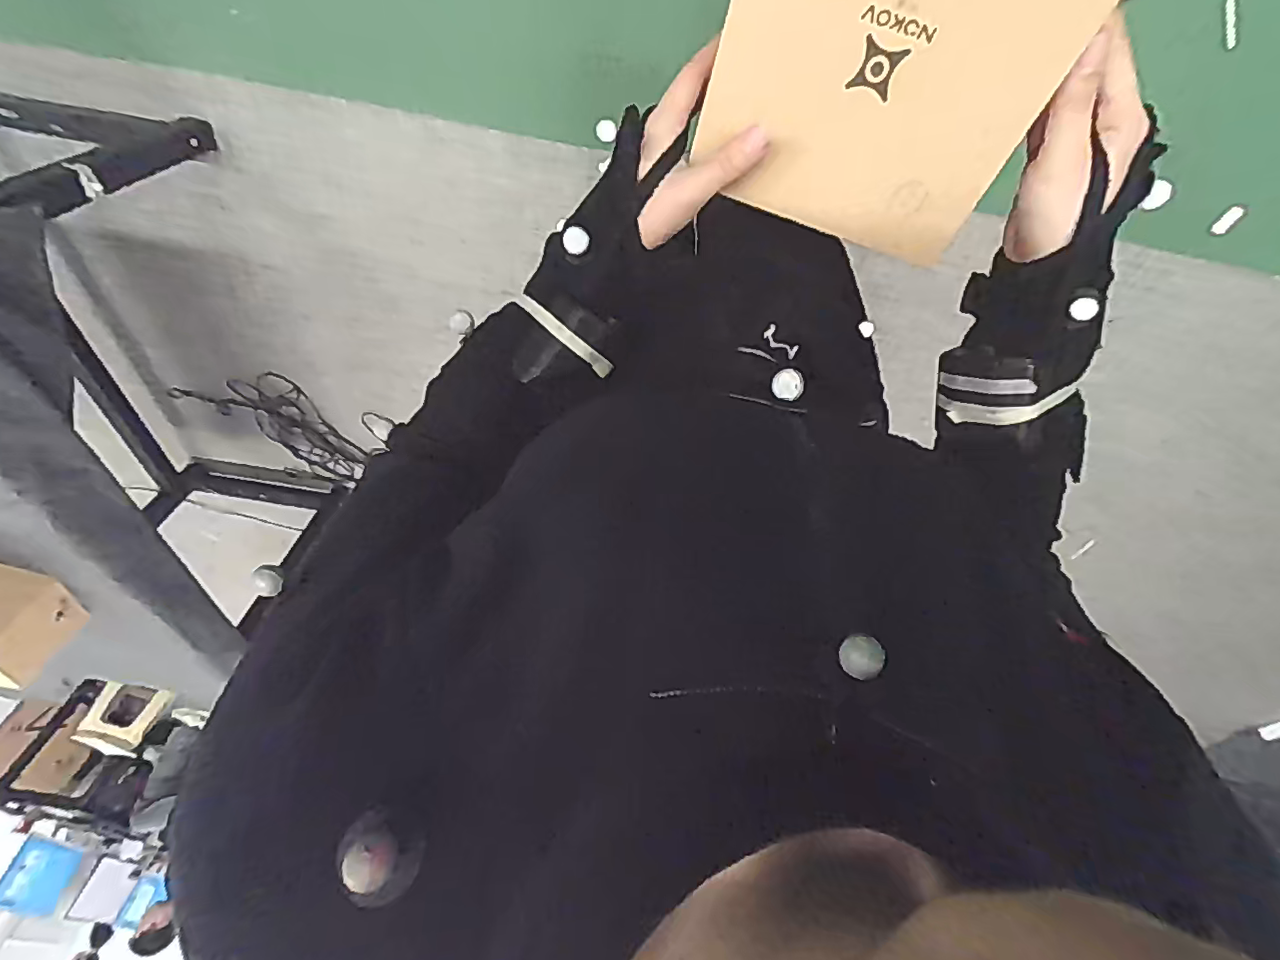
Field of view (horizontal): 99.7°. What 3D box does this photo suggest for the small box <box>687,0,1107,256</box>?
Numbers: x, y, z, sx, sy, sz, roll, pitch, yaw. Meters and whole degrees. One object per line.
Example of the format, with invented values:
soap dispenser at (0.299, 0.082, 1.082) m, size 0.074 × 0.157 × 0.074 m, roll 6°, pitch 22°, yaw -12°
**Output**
small box at (0.145, -0.275, 0.319) m, size 0.168 × 0.176 × 0.179 m, roll 20°, pitch 142°, yaw 1°
